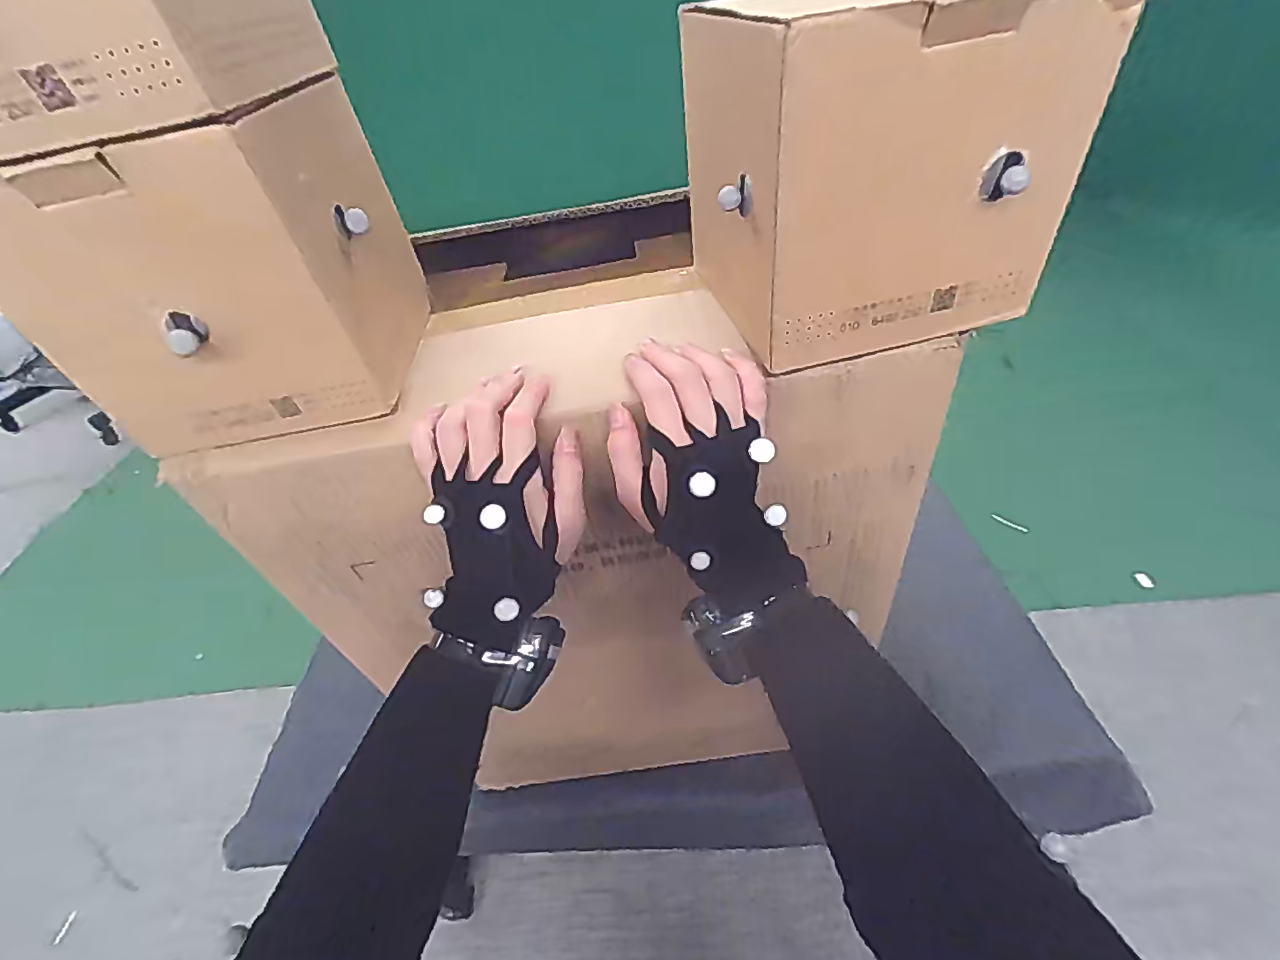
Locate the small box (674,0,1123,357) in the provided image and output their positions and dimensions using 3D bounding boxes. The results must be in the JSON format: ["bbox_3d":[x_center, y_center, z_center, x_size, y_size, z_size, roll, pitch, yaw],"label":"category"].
[{"bbox_3d":[0.126,-0.190,0.336,0.168,0.176,0.179,-13,42,-4],"label":"small box"}]

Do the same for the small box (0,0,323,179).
[{"bbox_3d":[-0.287,-0.256,0.252,0.168,0.176,0.179,-11,44,2],"label":"small box"}]

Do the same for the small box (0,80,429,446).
[{"bbox_3d":[-0.263,-0.139,0.365,0.168,0.176,0.179,-11,44,1],"label":"small box"}]
